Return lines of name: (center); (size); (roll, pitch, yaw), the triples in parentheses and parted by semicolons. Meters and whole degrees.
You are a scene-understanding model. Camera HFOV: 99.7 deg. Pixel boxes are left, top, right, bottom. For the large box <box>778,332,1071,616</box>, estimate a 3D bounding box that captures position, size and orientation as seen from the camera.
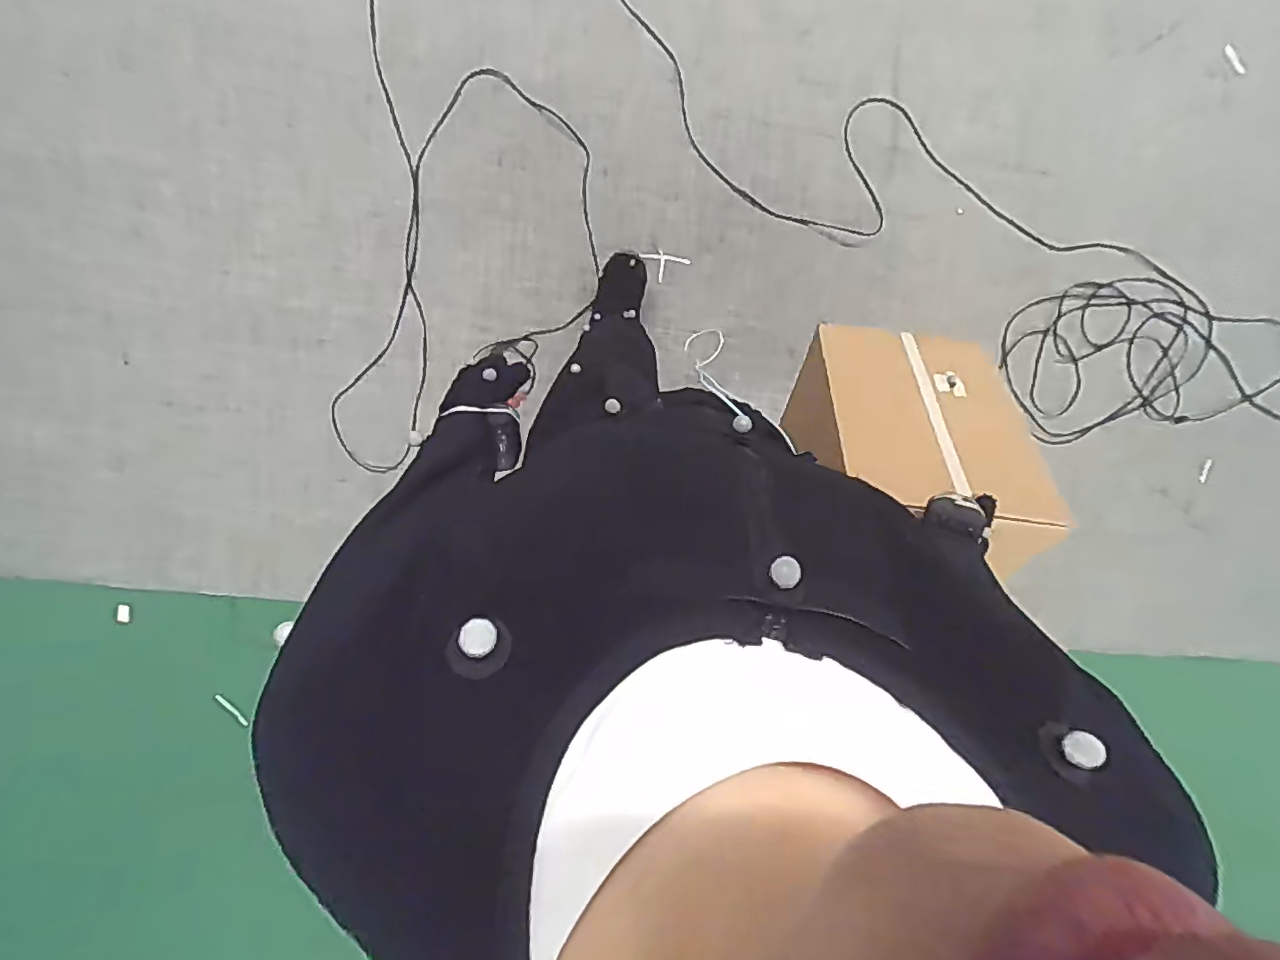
large box: (0.451, -0.009, 0.981); (0.320, 0.408, 0.320); (7, 141, -1)
